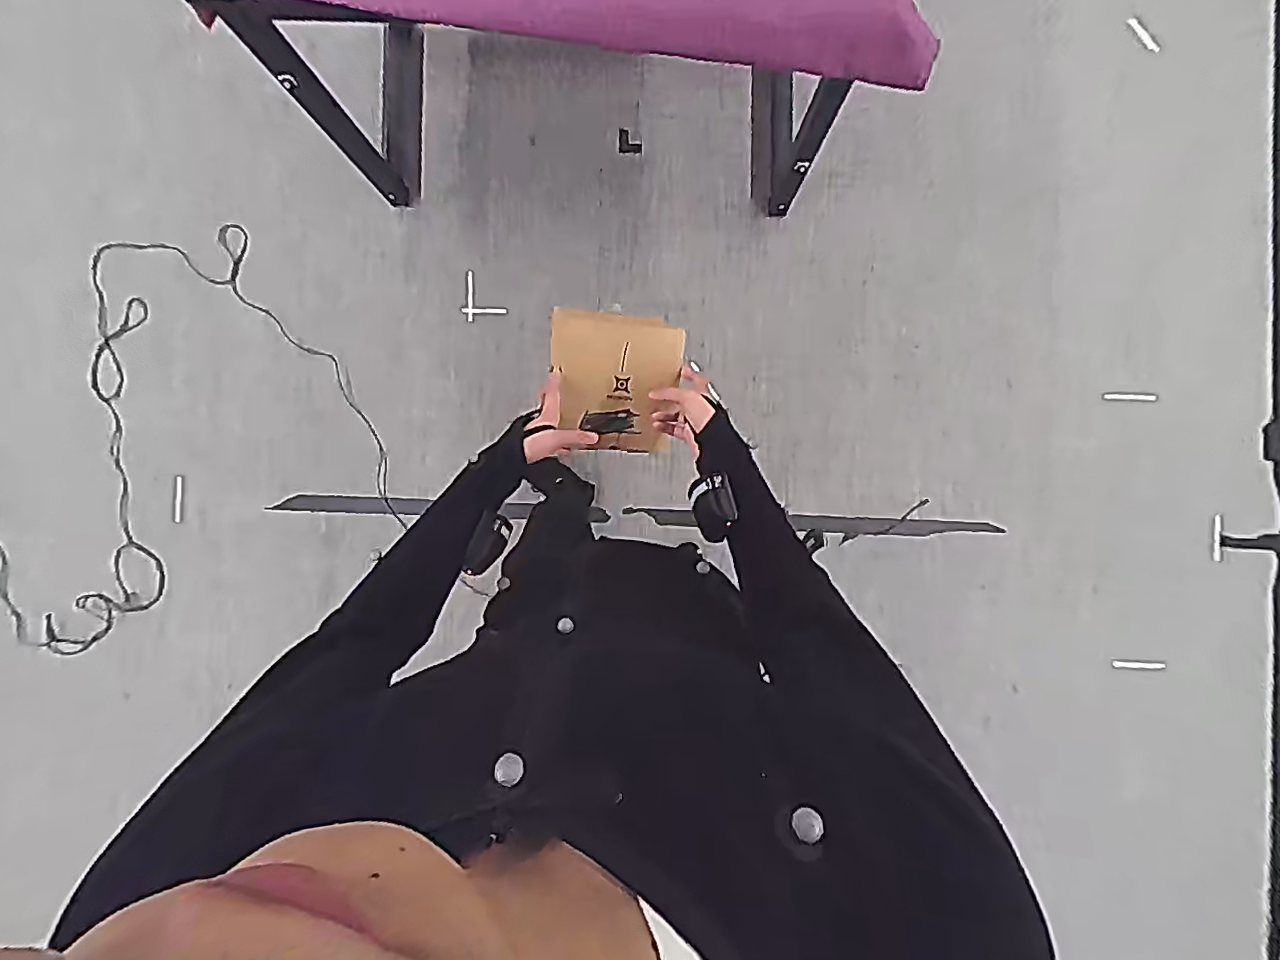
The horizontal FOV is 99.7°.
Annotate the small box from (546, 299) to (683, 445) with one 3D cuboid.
[{"bbox_3d":[-0.049,-0.164,0.803,0.168,0.176,0.179,2,112,-14],"label":"small box"}]
